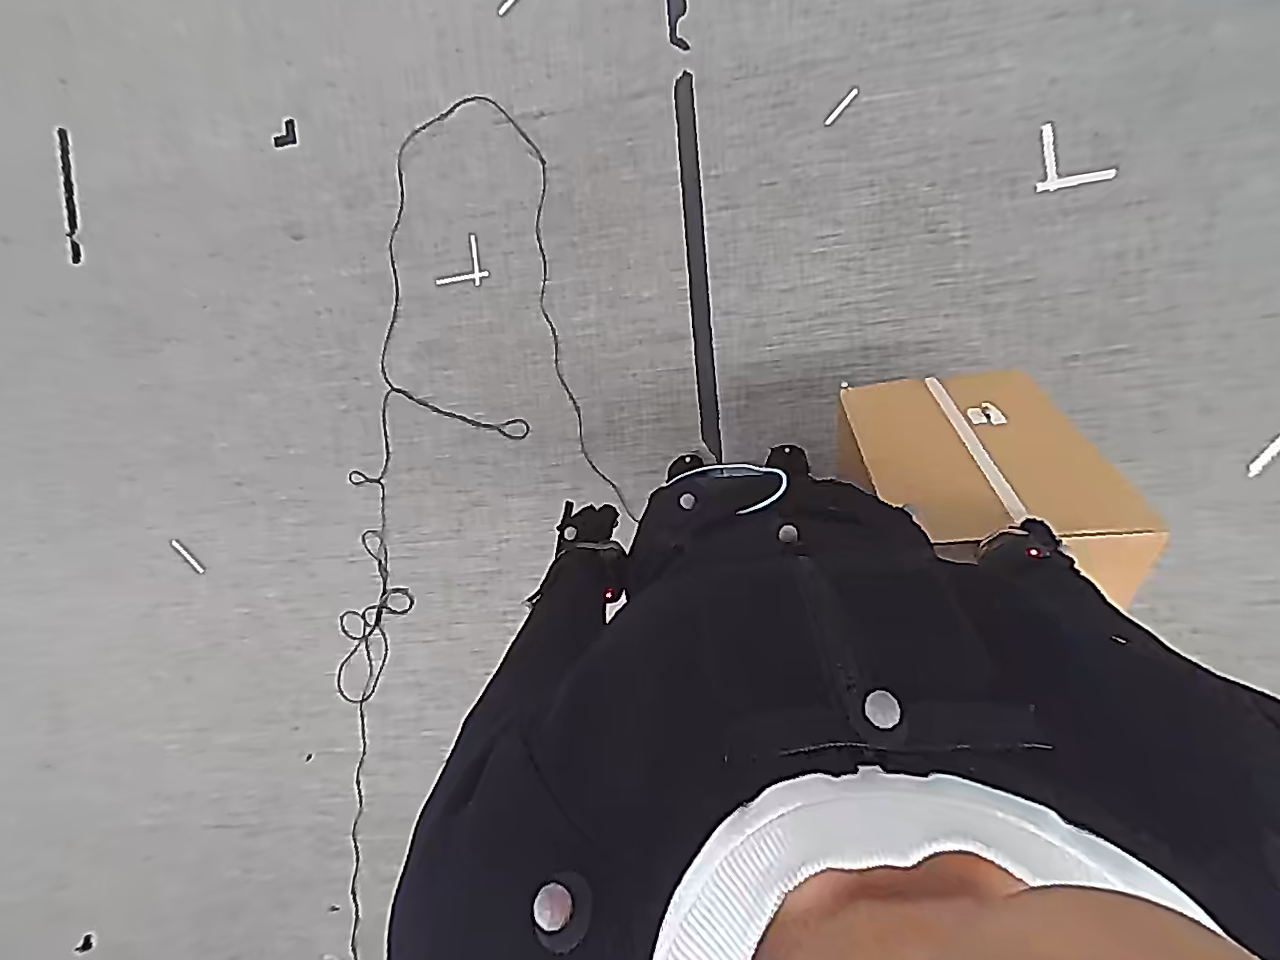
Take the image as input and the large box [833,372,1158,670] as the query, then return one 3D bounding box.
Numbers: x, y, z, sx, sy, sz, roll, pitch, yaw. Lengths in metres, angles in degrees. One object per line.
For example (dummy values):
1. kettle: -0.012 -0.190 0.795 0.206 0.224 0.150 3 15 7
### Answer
1. large box: 0.533 0.062 0.931 0.320 0.408 0.320 -5 128 10
